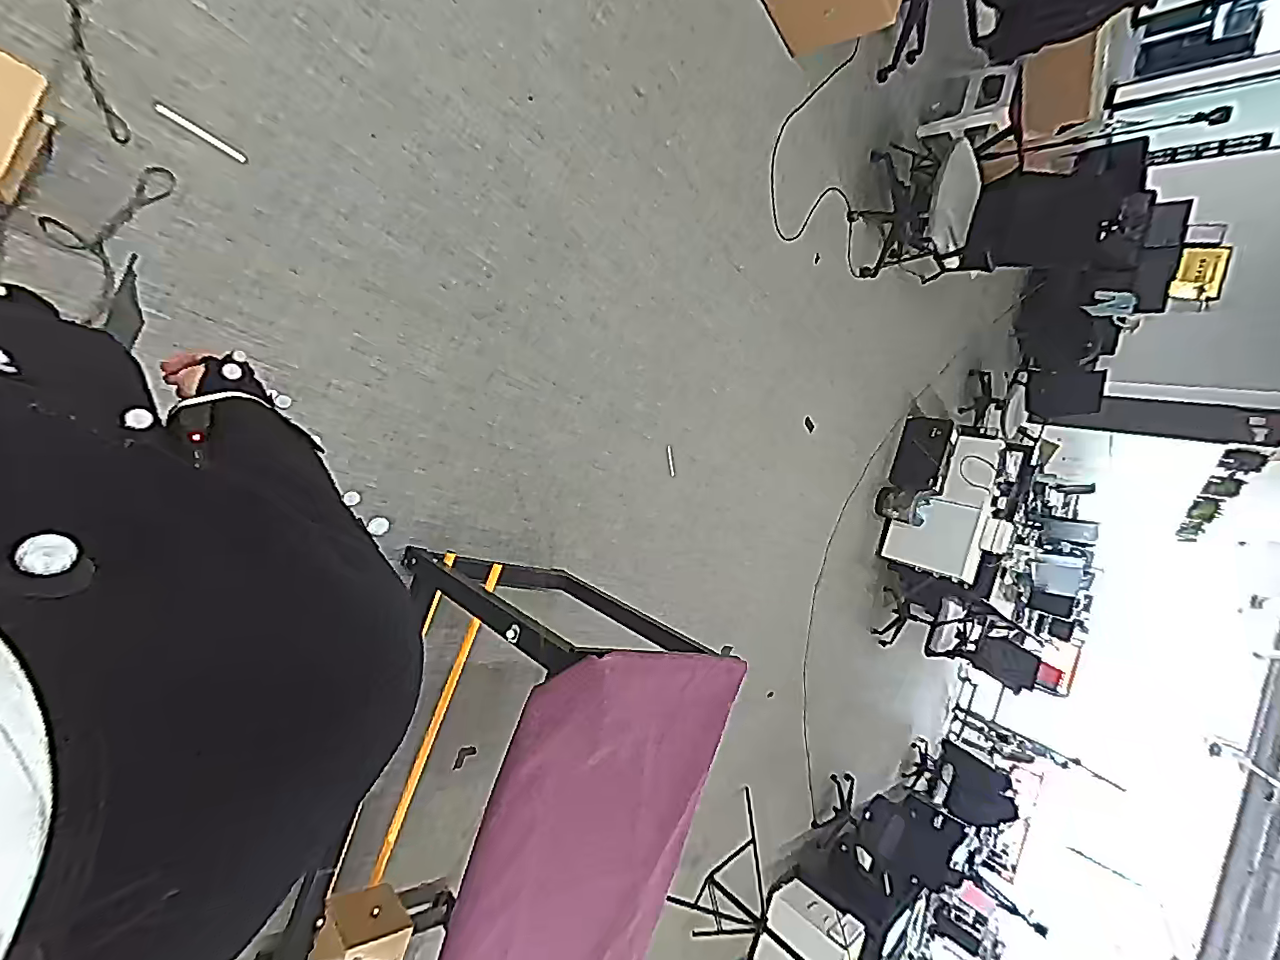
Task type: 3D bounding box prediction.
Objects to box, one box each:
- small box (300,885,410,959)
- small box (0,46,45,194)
[{"bbox_3d":[-0.730,1.189,1.379,0.179,0.176,0.168,24,83,-48],"label":"small box"},{"bbox_3d":[-0.975,-0.533,0.748,0.168,0.176,0.179,25,84,-45],"label":"small box"}]
